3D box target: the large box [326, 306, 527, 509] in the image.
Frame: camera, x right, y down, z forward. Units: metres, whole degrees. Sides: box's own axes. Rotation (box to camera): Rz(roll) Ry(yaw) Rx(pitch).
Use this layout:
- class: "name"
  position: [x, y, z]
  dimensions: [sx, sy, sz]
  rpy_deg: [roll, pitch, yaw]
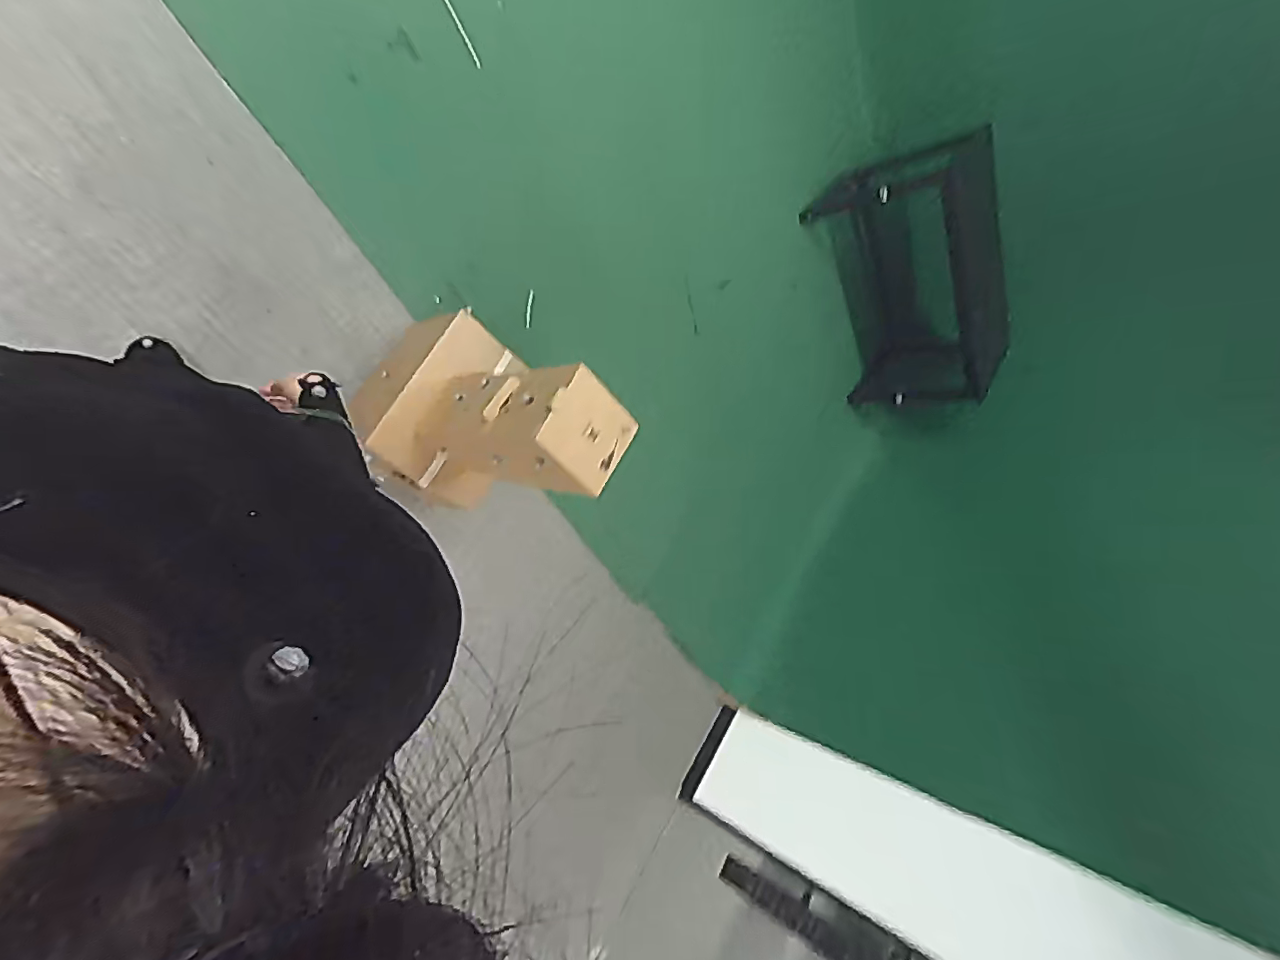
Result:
- class: "large box"
  position: [-0.532, -0.180, 1.420]
  dimensions: [0.320, 0.320, 0.408]
  rpy_deg: [44, 64, -40]

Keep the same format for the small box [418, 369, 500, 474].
- class: "small box"
  position: [-0.373, -0.133, 1.238]
  dimensions: [0.168, 0.176, 0.179]
  rpy_deg: [46, 64, -36]

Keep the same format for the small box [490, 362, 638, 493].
- class: "small box"
  position: [-0.145, -0.093, 1.006]
  dimensions: [0.179, 0.176, 0.168]
  rpy_deg: [46, 64, -35]

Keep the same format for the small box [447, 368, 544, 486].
- class: "small box"
  position: [-0.262, -0.107, 1.120]
  dimensions: [0.179, 0.176, 0.168]
  rpy_deg: [48, 63, -36]
